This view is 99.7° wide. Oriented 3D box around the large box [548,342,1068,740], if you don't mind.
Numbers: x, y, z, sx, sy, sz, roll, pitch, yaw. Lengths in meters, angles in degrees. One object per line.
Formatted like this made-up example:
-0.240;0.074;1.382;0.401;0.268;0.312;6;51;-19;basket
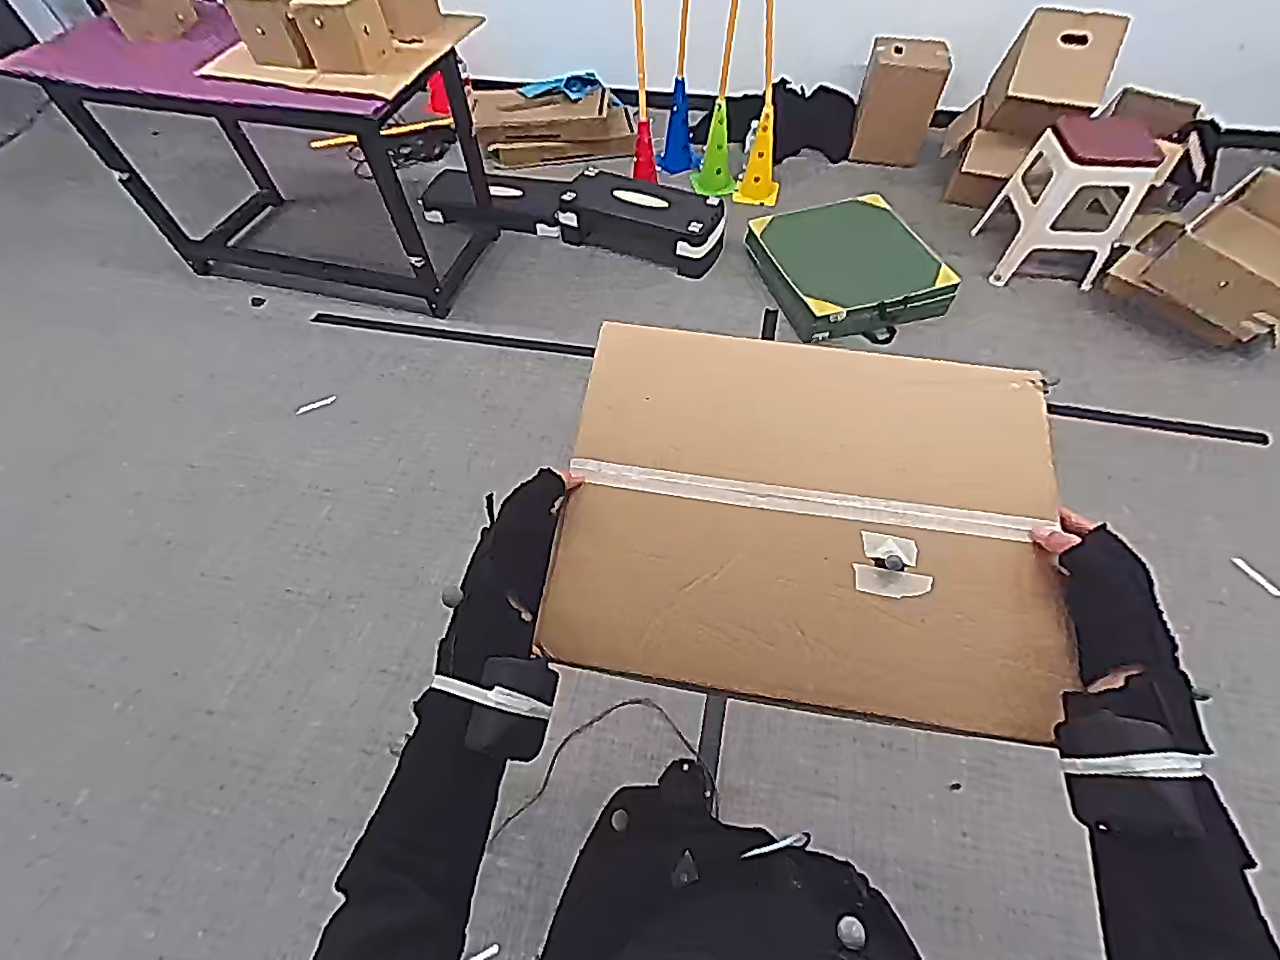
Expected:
0.143;0.081;0.602;0.408;0.320;0.320;8;70;4;large box
